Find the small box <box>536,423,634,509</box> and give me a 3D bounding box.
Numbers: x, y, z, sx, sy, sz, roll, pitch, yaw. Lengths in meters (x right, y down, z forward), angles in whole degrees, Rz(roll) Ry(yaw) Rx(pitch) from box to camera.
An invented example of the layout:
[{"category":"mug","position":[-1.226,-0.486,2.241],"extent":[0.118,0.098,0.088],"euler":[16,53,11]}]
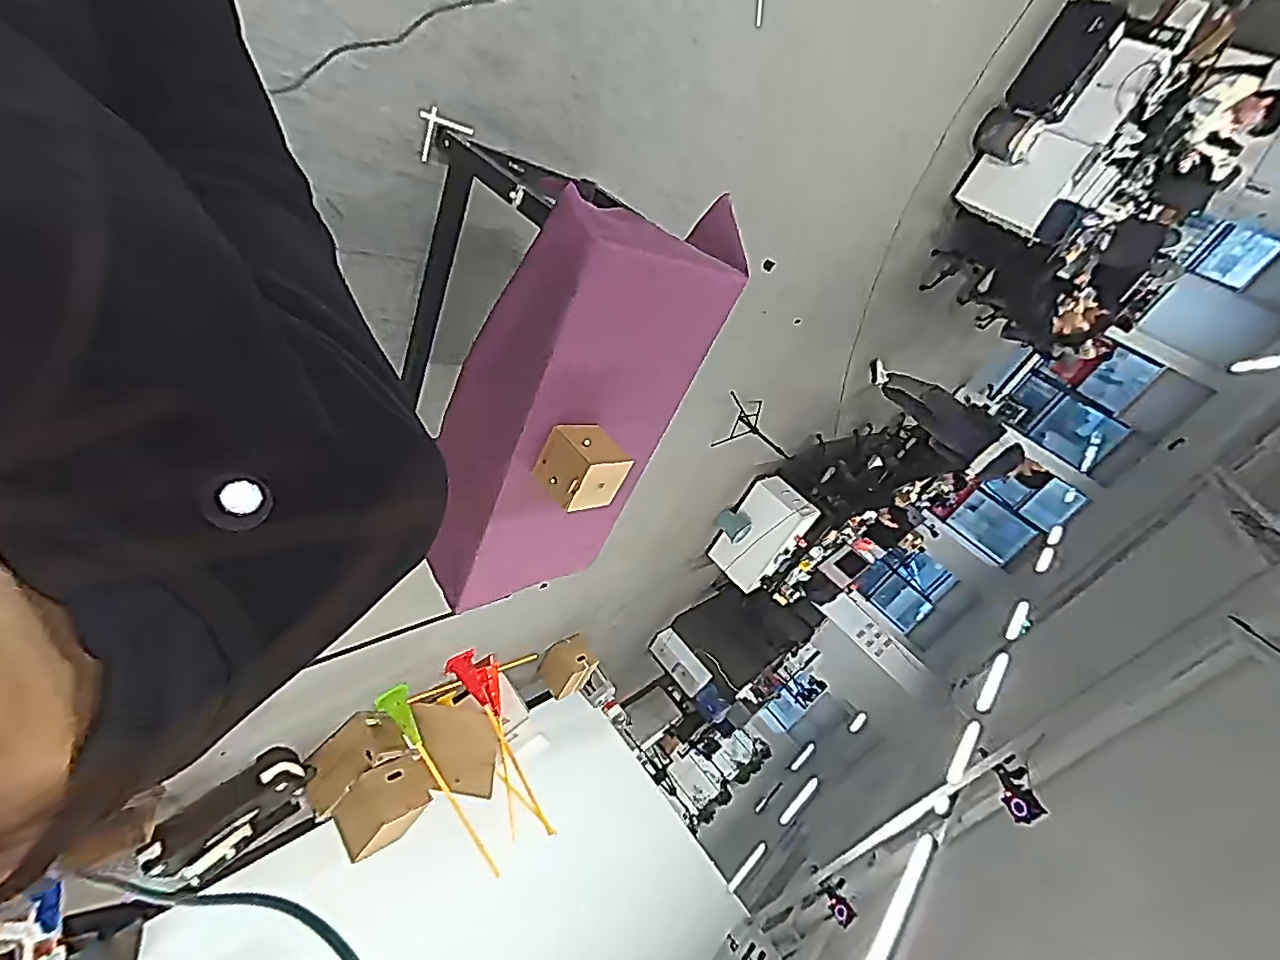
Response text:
[{"category":"small box","position":[-0.156,-0.044,1.481],"extent":[0.179,0.176,0.168],"euler":[-9,137,-51]}]
